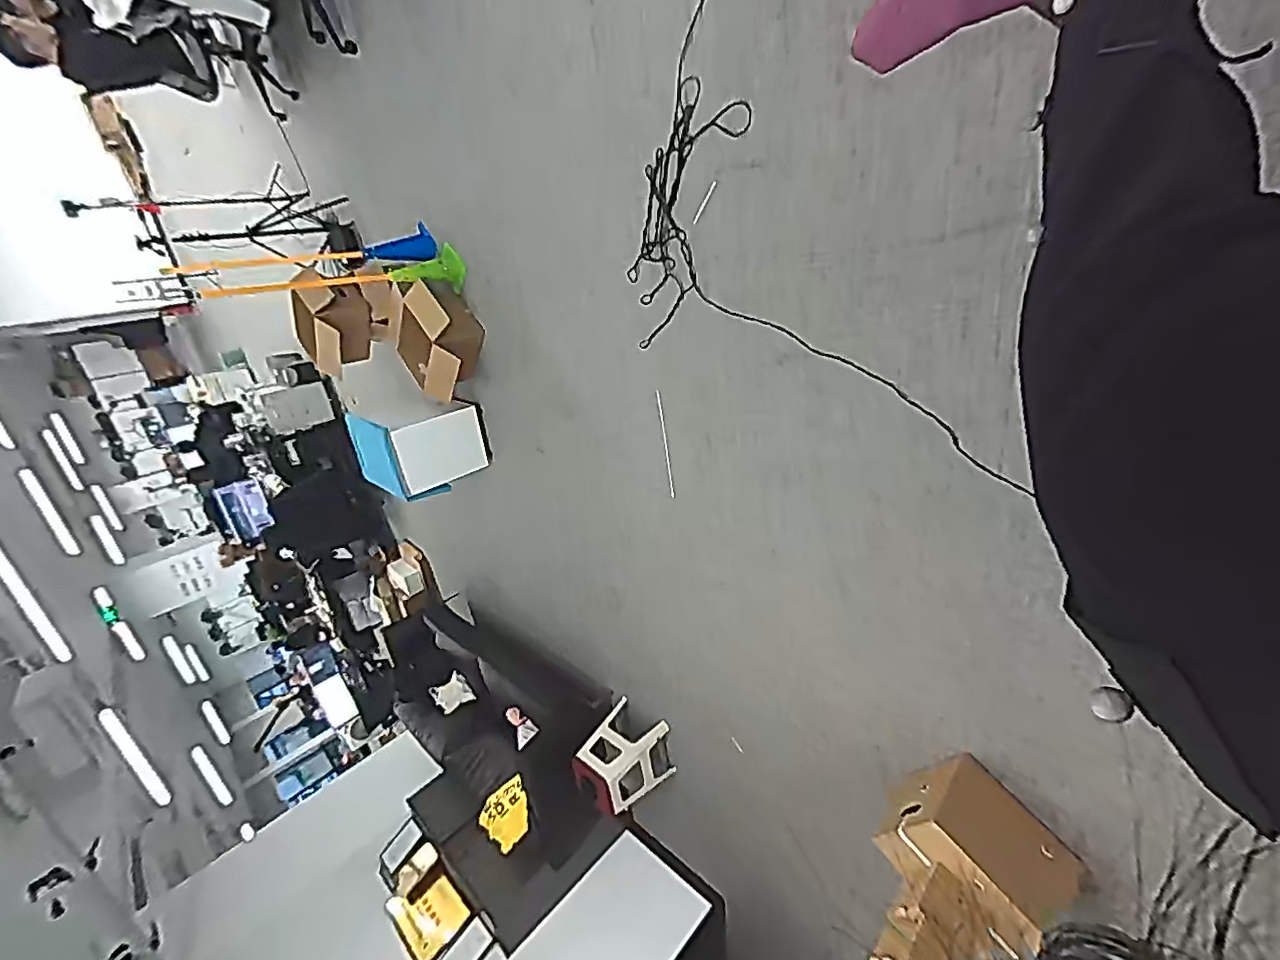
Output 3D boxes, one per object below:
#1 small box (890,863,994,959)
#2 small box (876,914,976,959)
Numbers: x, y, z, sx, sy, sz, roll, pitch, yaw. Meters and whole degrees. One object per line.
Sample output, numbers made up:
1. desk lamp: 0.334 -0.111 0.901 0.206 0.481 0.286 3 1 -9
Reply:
1. small box: 0.876 1.253 1.567 0.179 0.176 0.168 42 139 24
2. small box: 0.771 1.309 1.450 0.179 0.176 0.168 44 139 20
